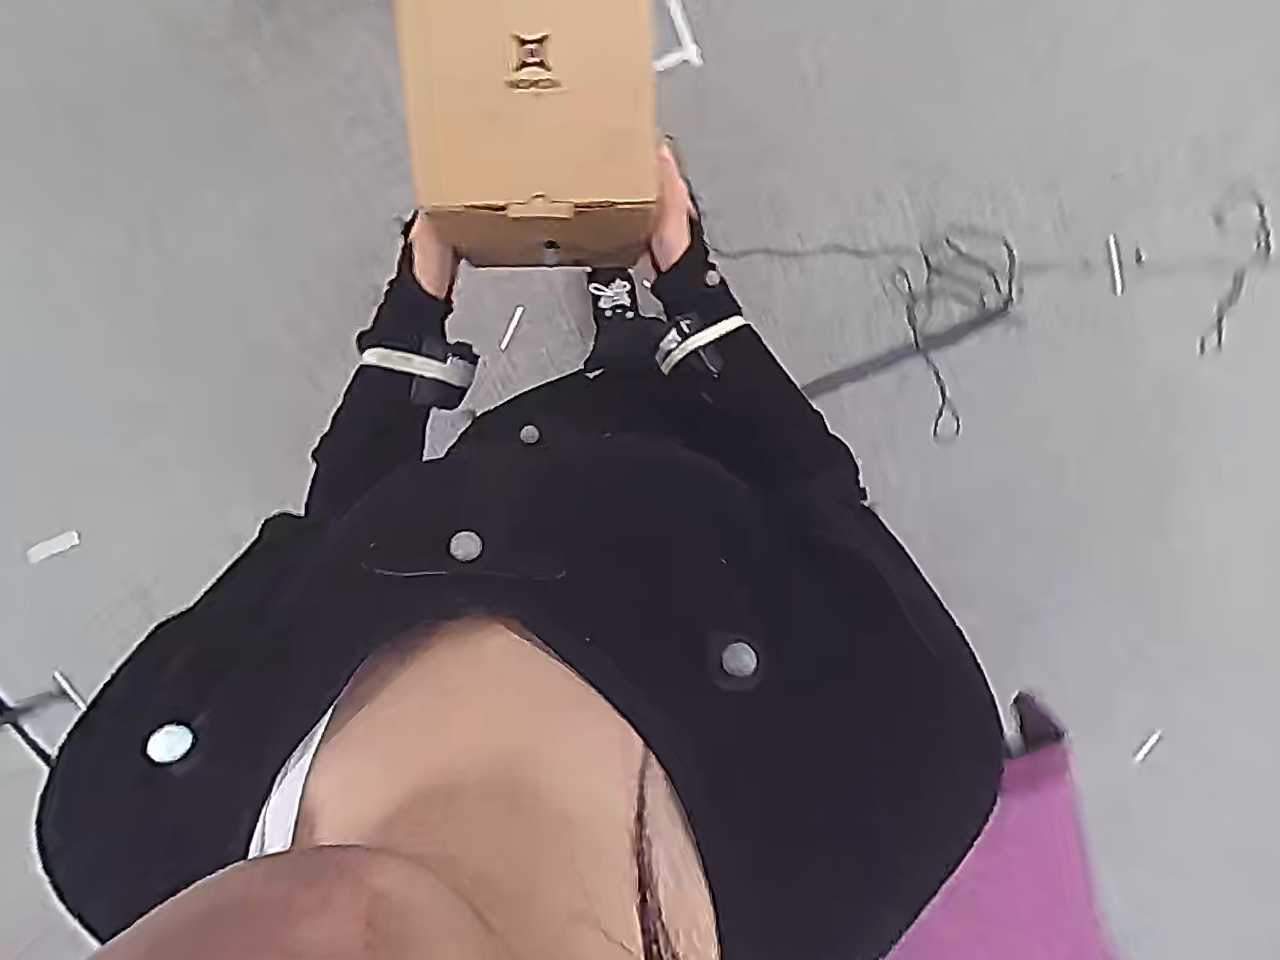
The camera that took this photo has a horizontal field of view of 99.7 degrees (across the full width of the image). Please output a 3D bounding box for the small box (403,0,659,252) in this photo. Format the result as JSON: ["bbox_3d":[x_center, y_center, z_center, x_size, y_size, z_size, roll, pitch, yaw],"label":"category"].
[{"bbox_3d":[-0.076,-0.290,0.433,0.168,0.176,0.179,-3,99,-5],"label":"small box"}]
